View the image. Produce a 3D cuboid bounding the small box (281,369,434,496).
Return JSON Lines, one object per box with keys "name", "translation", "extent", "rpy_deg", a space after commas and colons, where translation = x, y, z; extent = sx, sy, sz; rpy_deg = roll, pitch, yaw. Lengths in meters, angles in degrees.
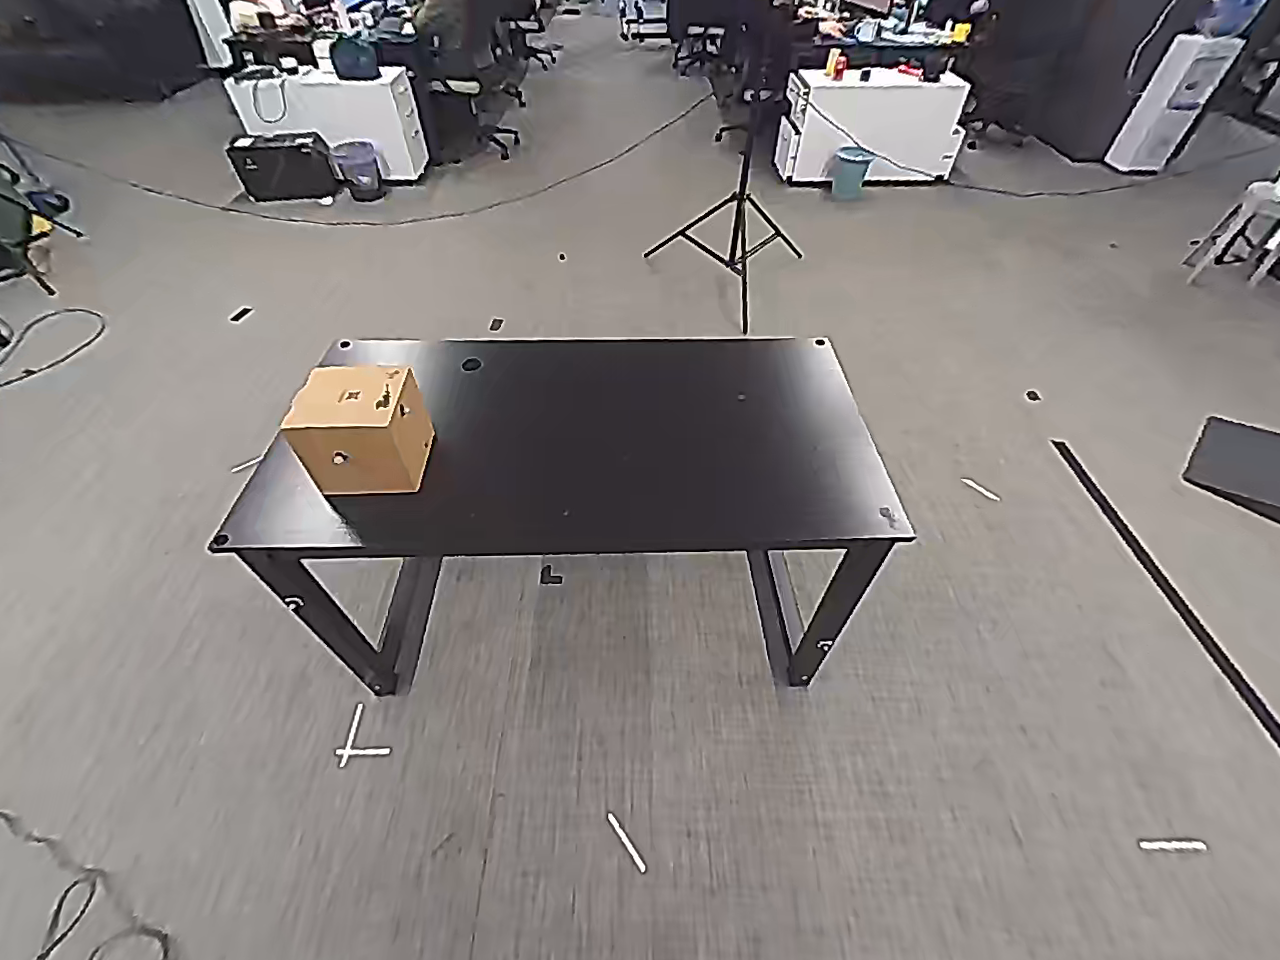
{"name": "small box", "translation": [-0.500, -0.083, 0.988], "extent": [0.179, 0.176, 0.168], "rpy_deg": [-3, 48, -2]}
